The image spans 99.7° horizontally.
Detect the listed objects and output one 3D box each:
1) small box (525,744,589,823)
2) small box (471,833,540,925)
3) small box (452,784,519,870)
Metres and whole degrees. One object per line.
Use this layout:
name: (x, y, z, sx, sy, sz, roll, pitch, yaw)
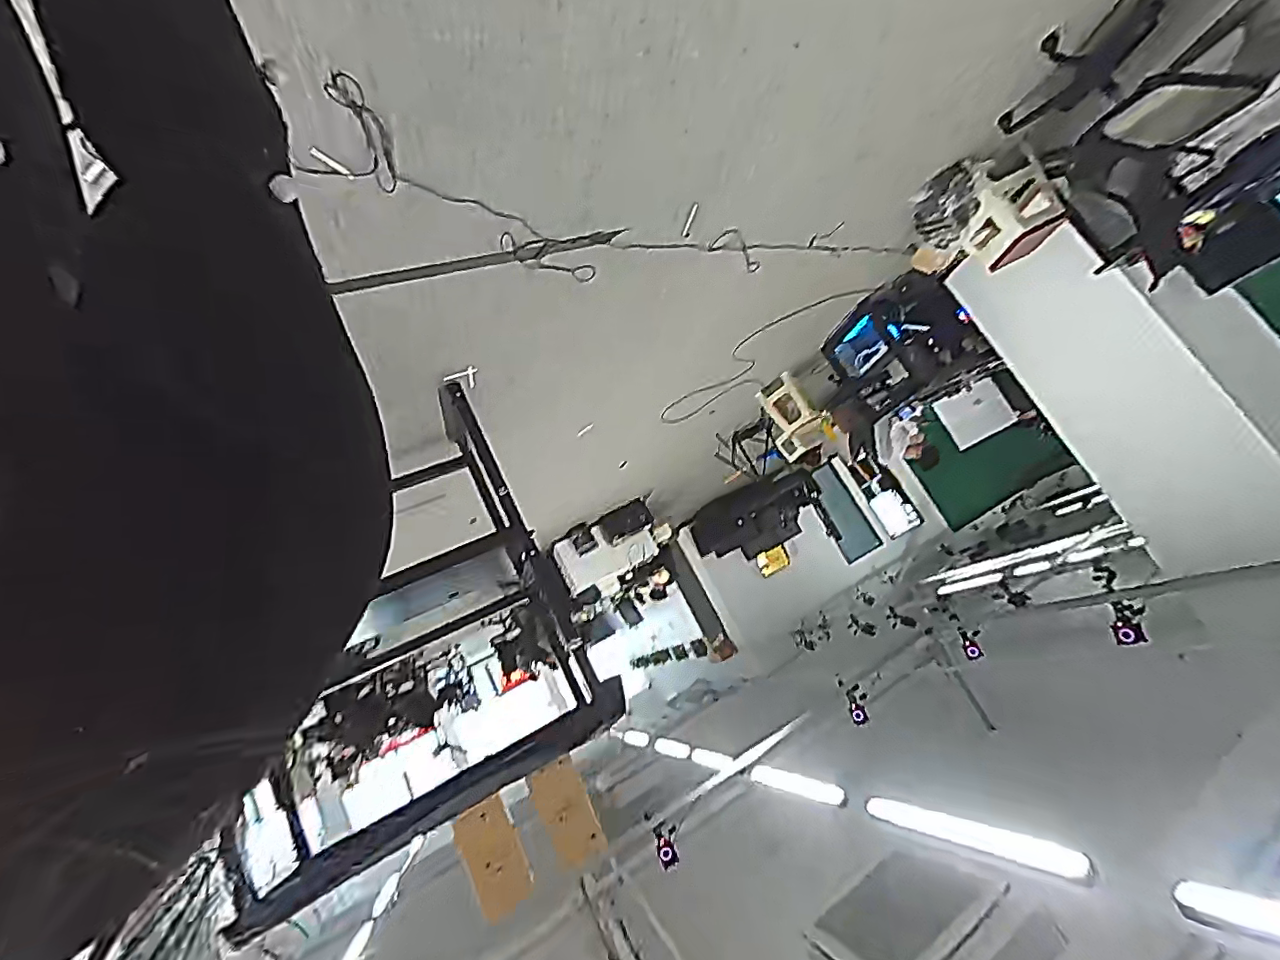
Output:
small box: (-0.295, 1.053, 1.891, 0.168, 0.176, 0.179, -22, 168, -19)
small box: (-0.446, 1.292, 1.774, 0.168, 0.176, 0.179, -22, 167, -23)
small box: (-0.517, 1.146, 1.805, 0.168, 0.176, 0.179, -23, 167, -21)
